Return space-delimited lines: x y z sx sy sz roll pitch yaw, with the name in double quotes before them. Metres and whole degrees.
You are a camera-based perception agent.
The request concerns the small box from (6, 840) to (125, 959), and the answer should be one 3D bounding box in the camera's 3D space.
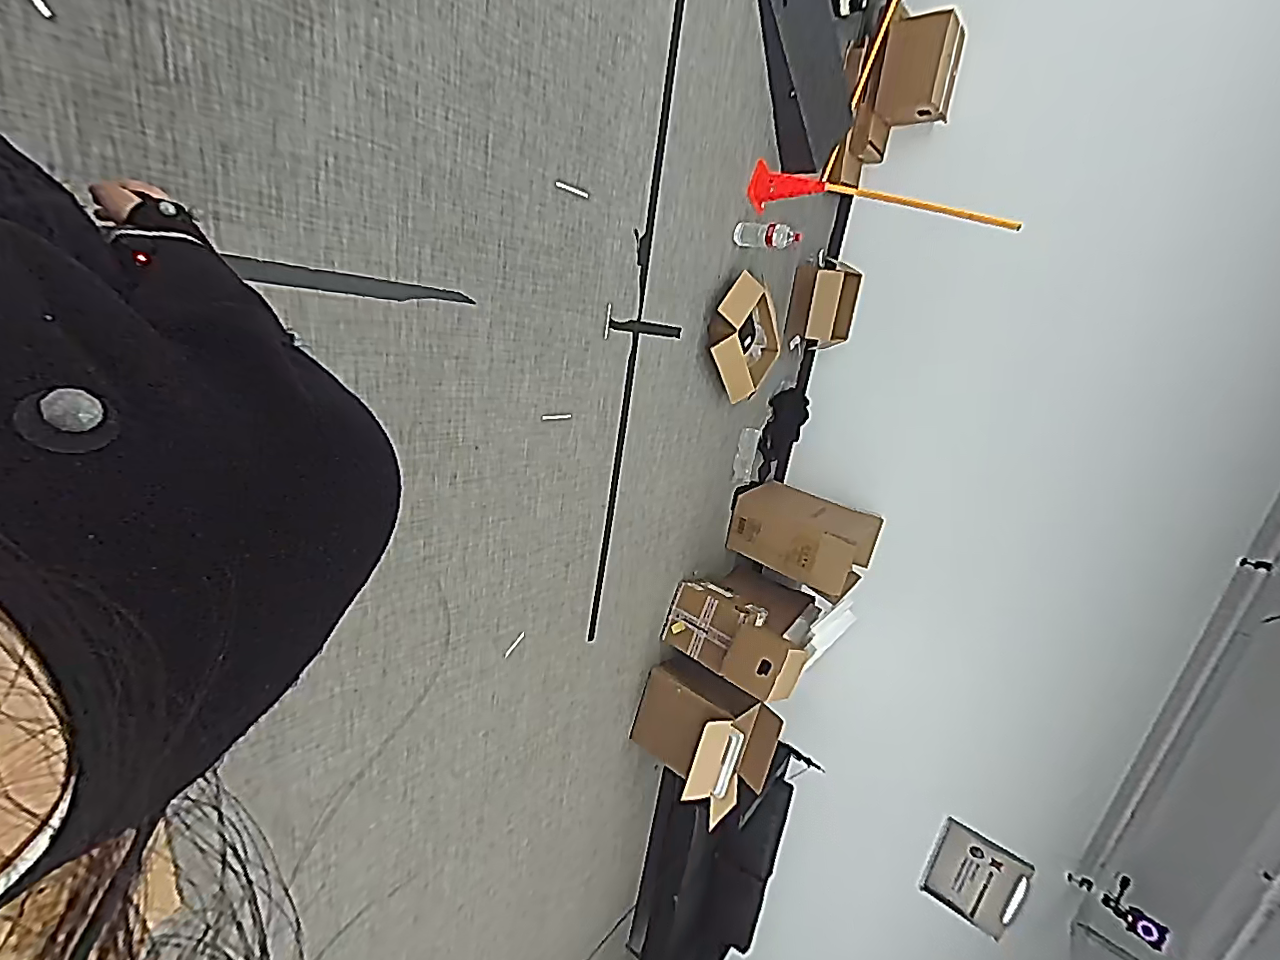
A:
"small box" -1.324 0.979 1.247 0.168 0.176 0.179 -9 116 -51
